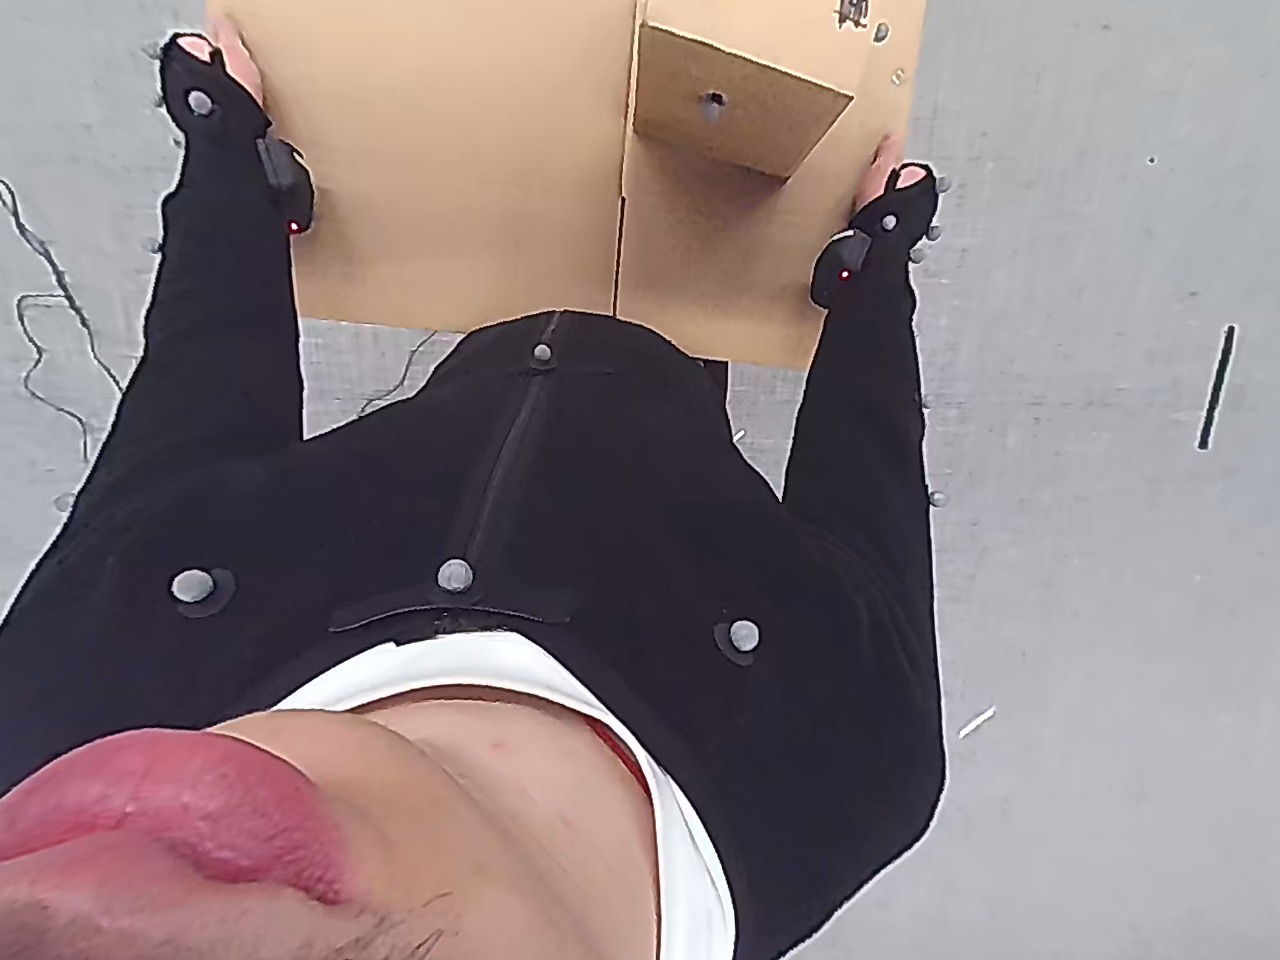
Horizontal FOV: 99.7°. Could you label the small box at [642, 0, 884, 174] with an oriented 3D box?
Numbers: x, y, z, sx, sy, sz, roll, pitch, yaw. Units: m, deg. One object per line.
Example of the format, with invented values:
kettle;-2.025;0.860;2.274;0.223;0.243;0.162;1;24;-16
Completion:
small box;0.105;-0.411;0.489;0.179;0.176;0.168;16;98;-4
